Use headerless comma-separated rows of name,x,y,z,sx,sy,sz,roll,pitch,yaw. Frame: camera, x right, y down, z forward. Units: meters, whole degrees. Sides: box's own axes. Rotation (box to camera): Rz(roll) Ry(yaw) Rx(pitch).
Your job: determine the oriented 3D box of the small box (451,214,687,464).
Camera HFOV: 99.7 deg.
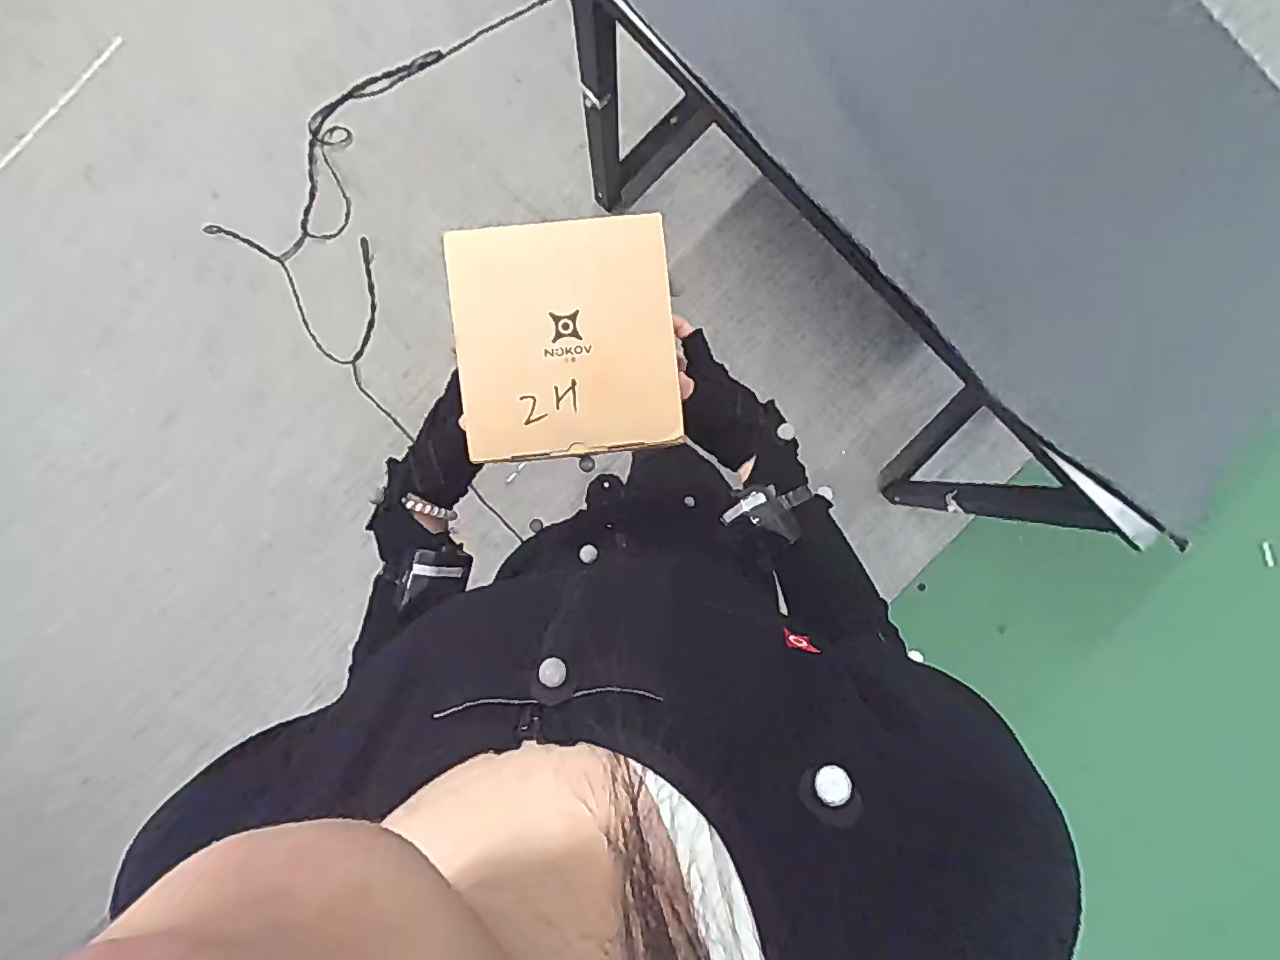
small box,-0.057,-0.110,0.489,0.168,0.176,0.179,-7,92,-2
